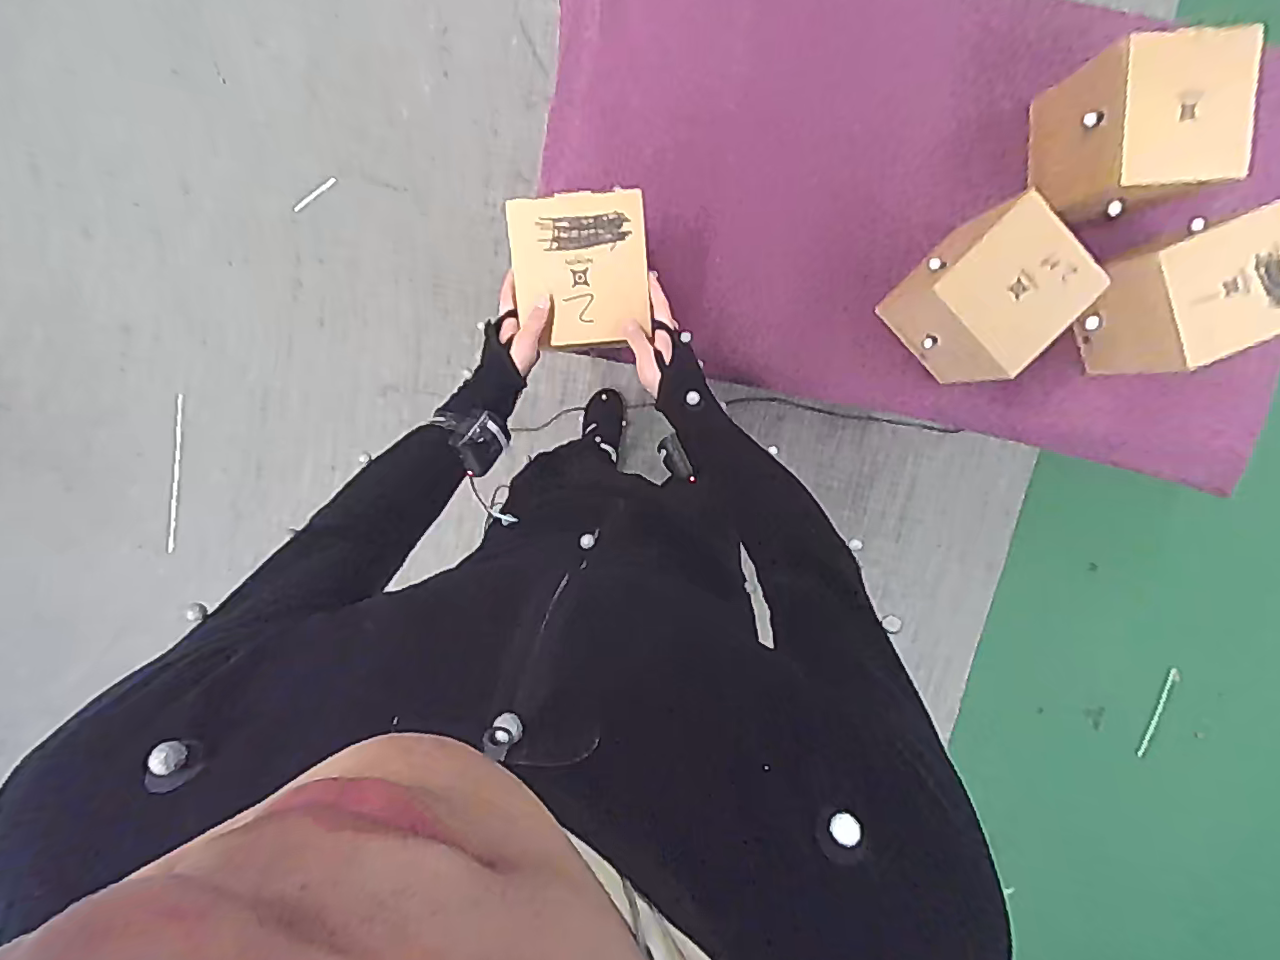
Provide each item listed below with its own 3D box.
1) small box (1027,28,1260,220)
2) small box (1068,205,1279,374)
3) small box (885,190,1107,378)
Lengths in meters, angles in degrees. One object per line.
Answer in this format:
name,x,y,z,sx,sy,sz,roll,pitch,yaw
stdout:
small box,0.675,-0.473,0.749,0.168,0.176,0.179,-4,99,0
small box,0.769,-0.262,0.783,0.179,0.176,0.168,-23,99,3
small box,0.485,-0.261,0.773,0.168,0.176,0.179,44,95,-8
